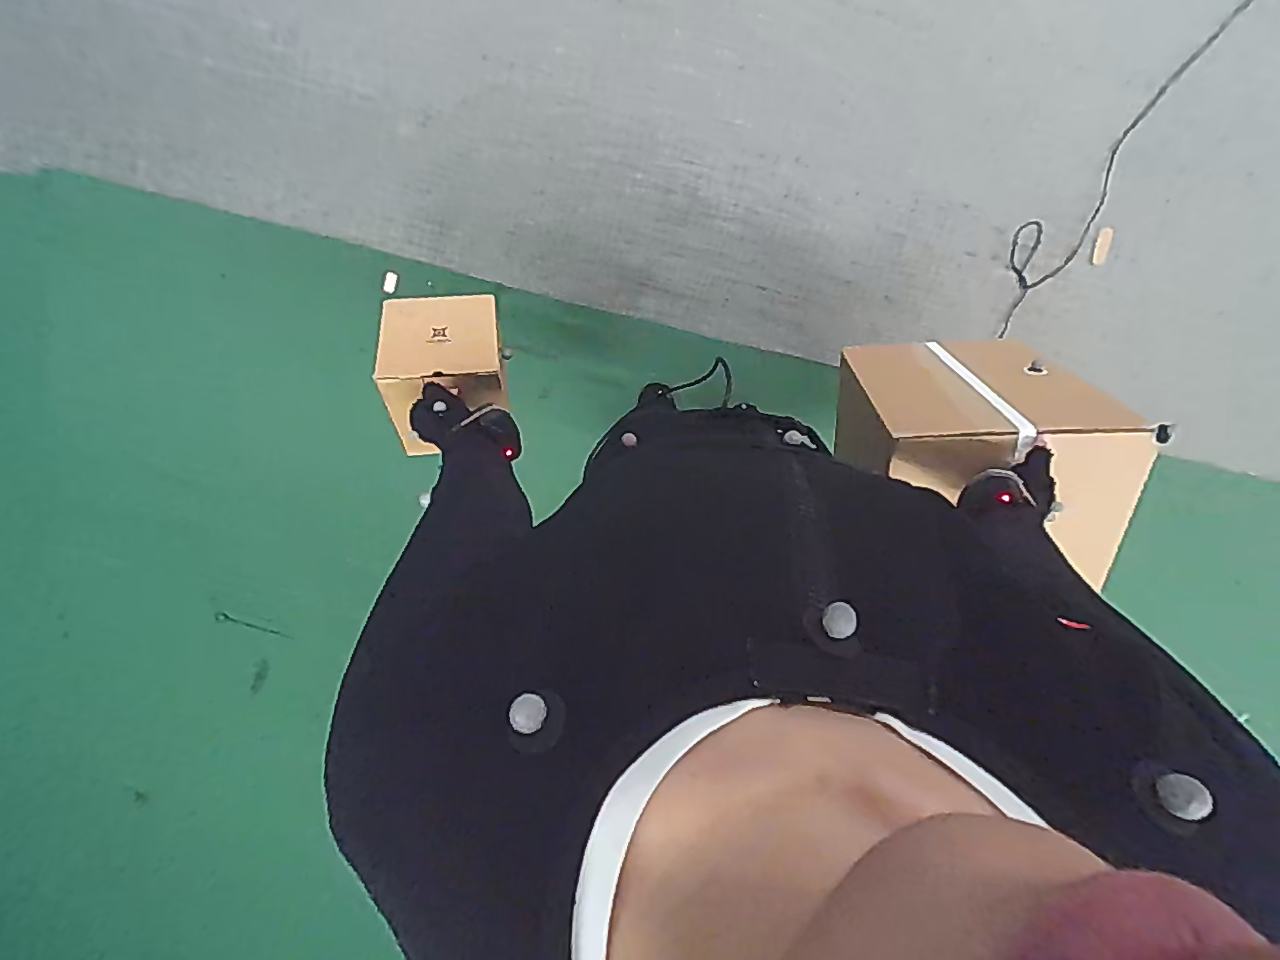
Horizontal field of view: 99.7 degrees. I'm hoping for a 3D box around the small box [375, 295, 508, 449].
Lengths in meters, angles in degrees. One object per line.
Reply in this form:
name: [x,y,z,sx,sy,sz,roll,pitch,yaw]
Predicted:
small box: [-0.302,-0.171,0.858,0.168,0.176,0.179,-5,56,-10]
